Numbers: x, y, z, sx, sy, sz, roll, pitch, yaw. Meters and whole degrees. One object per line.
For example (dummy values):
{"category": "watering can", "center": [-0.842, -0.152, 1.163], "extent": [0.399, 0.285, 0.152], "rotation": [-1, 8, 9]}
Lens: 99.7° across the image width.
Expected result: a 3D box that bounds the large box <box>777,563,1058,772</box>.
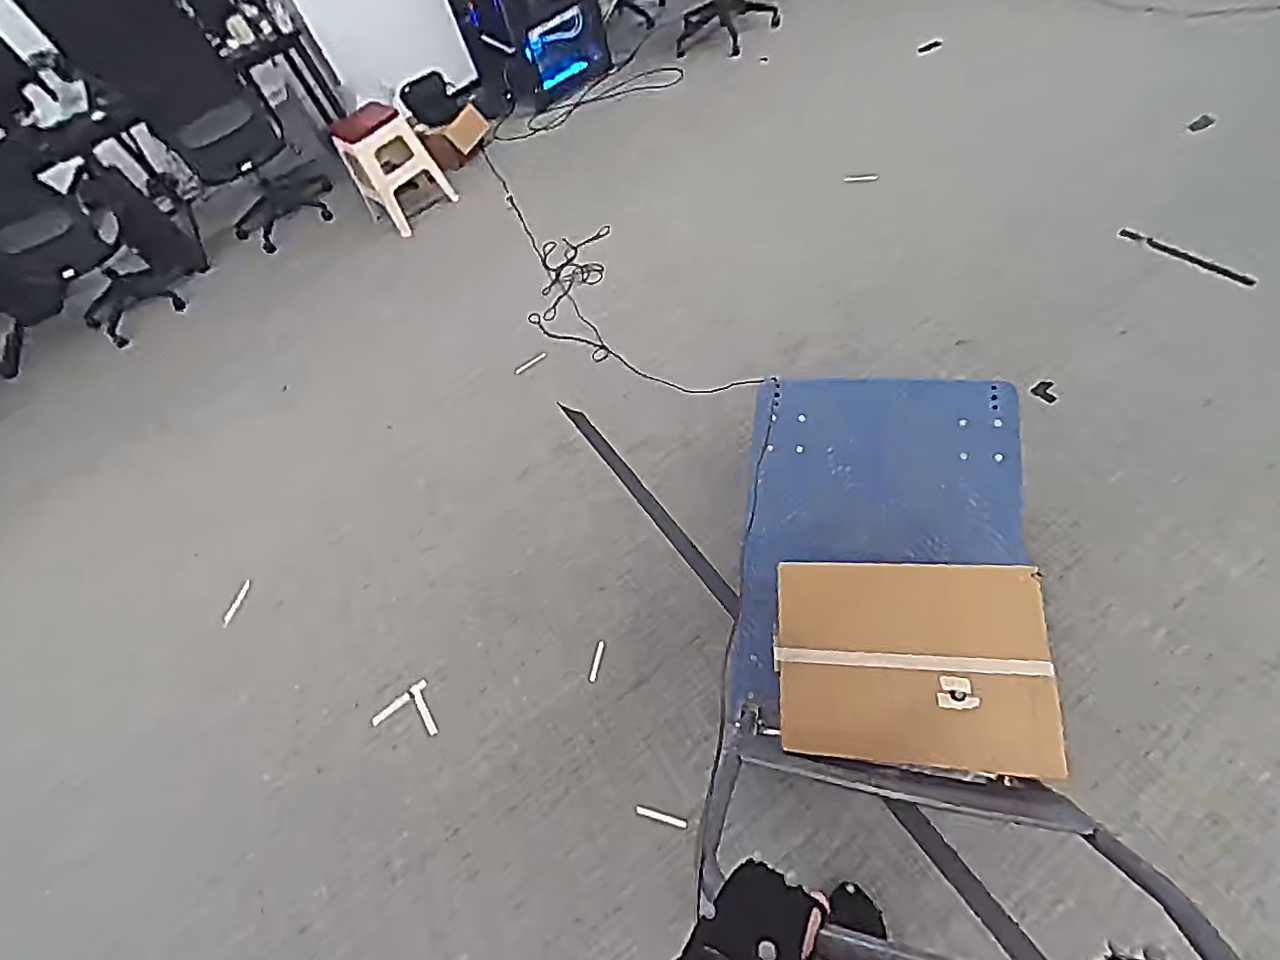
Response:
{"category": "large box", "center": [0.475, 0.334, 1.031], "extent": [0.408, 0.320, 0.320], "rotation": [-1, 75, 15]}
